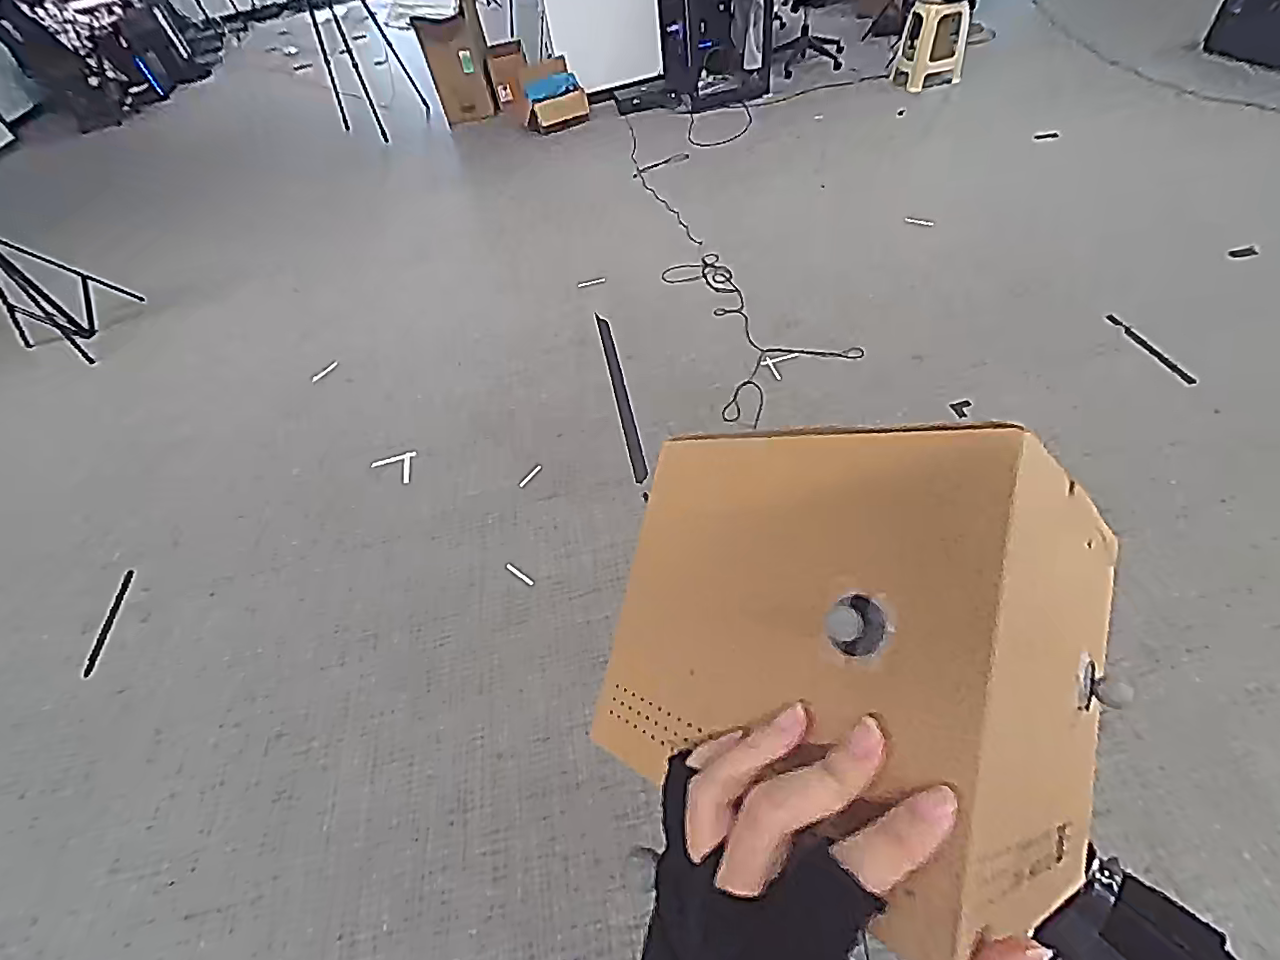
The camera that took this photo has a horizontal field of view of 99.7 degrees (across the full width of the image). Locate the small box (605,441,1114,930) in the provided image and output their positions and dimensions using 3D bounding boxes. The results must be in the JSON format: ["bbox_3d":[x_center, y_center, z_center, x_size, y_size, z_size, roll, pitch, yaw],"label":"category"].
[{"bbox_3d":[0.108,0.087,0.278,0.179,0.168,0.176,3,75,49],"label":"small box"}]
